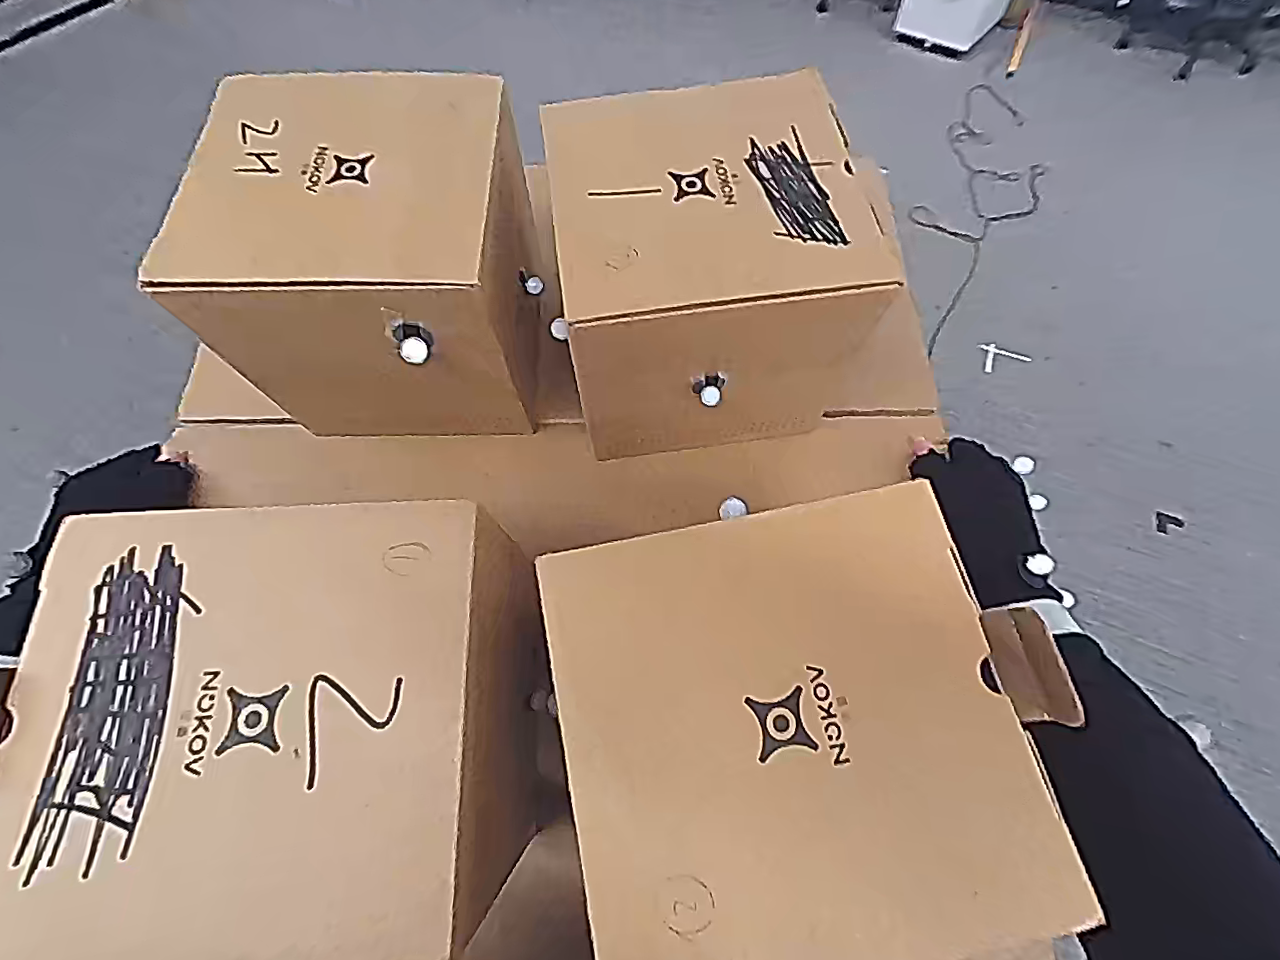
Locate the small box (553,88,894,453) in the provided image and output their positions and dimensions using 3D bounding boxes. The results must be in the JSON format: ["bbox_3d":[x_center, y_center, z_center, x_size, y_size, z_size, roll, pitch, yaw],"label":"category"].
[{"bbox_3d":[0.041,-0.132,0.384,0.179,0.176,0.168,-7,68,-1],"label":"small box"}]

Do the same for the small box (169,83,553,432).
[{"bbox_3d":[-0.163,-0.144,0.391,0.179,0.176,0.168,1,67,1],"label":"small box"}]
